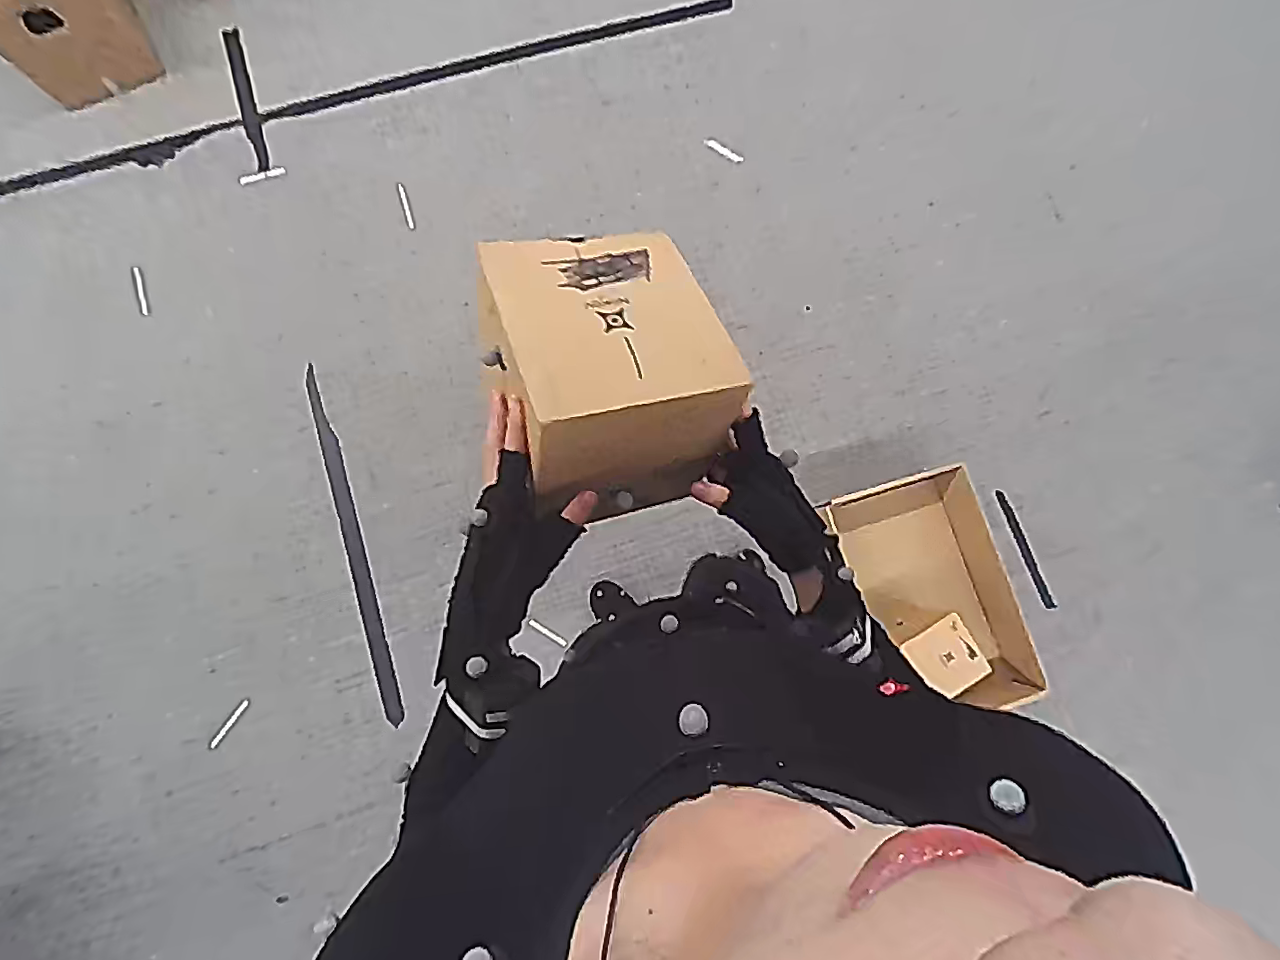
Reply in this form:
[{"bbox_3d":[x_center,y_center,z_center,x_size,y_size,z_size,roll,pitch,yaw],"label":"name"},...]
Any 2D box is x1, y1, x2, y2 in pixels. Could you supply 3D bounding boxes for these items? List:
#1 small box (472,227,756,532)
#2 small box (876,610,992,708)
[{"bbox_3d":[-0.038,-0.082,0.455,0.168,0.176,0.179,-14,63,-20],"label":"small box"},{"bbox_3d":[0.740,0.451,1.392,0.179,0.176,0.168,-29,83,-6],"label":"small box"}]
